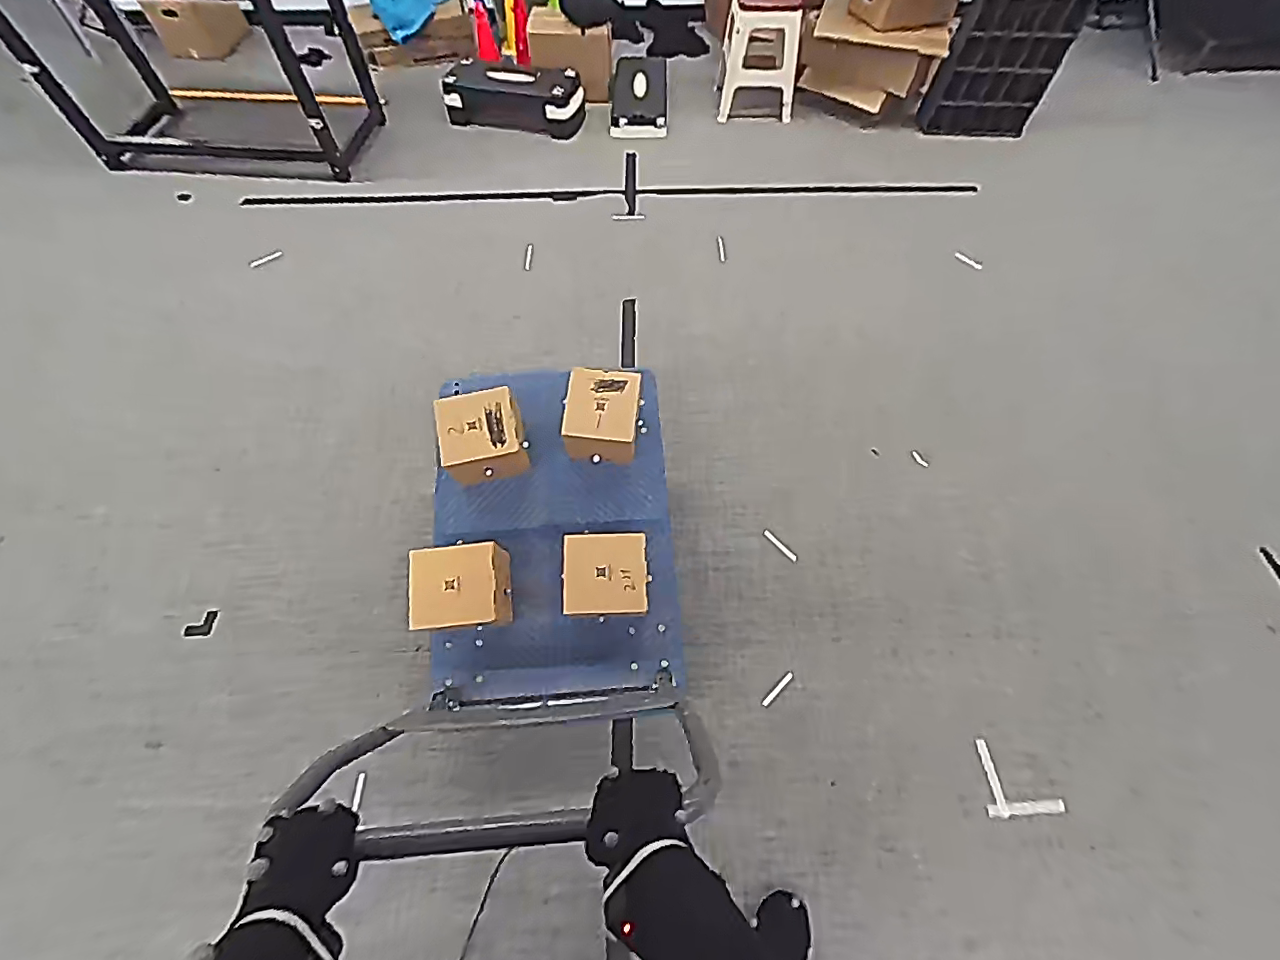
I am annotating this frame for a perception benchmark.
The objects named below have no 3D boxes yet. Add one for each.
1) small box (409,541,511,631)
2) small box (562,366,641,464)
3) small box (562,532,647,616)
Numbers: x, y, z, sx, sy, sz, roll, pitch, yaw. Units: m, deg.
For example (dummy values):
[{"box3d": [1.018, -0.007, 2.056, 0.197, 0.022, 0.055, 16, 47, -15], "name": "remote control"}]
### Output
[{"box3d": [-0.390, 0.238, 1.190, 0.179, 0.176, 0.168, -6, 73, -5], "name": "small box"}, {"box3d": [-0.090, -0.154, 1.319, 0.168, 0.176, 0.179, 6, 74, 1], "name": "small box"}, {"box3d": [-0.074, 0.214, 1.205, 0.179, 0.176, 0.168, -1, 73, -2], "name": "small box"}]
